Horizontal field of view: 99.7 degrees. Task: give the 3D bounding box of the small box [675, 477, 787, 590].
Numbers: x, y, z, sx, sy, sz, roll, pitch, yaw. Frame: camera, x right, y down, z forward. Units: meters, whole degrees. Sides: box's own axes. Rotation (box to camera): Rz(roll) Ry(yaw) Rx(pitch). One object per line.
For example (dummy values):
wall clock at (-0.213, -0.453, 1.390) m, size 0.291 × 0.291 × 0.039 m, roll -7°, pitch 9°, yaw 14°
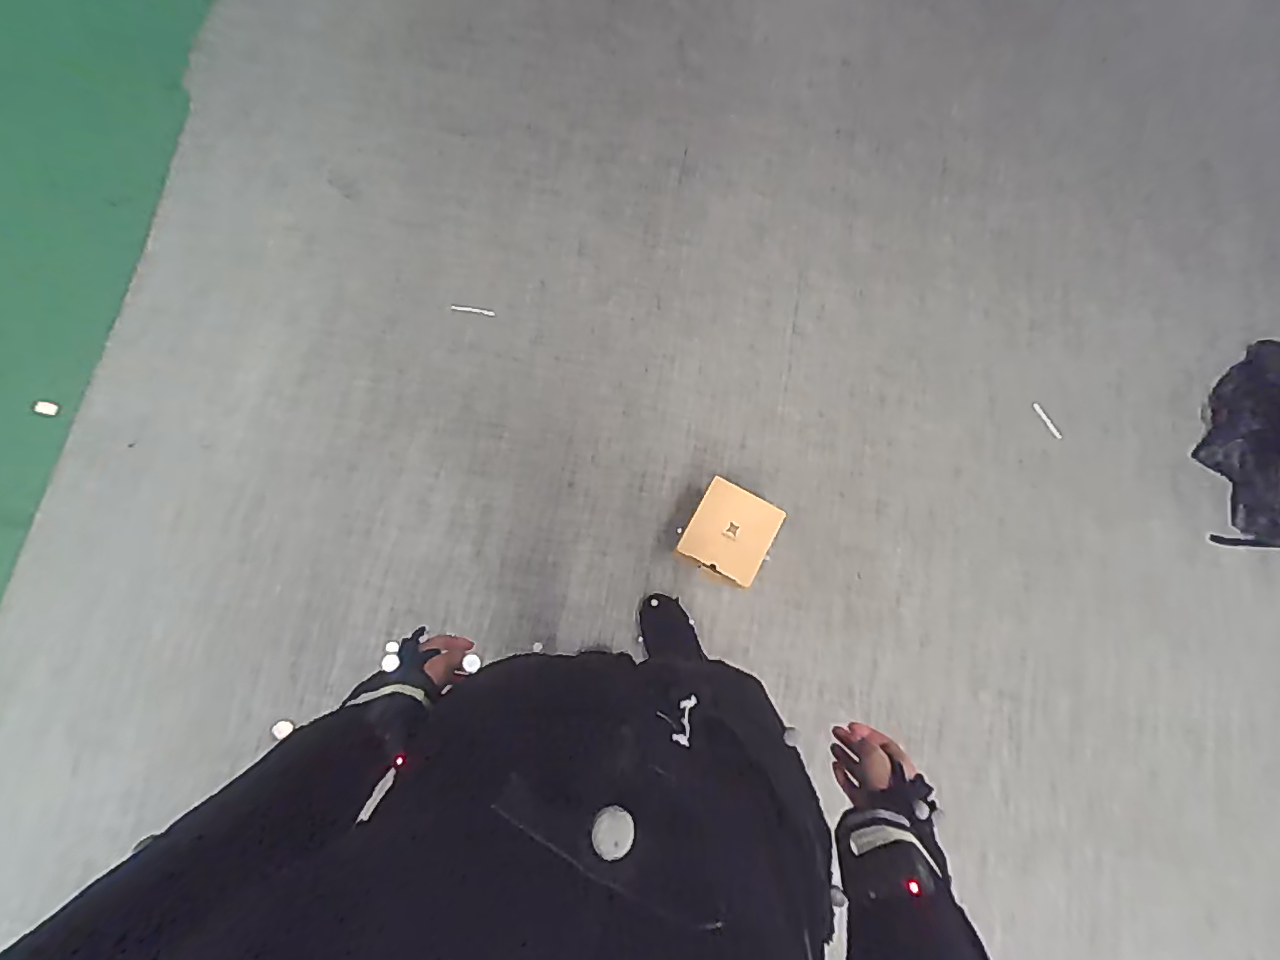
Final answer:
small box at (0.184, 0.118, 1.160) m, size 0.168 × 0.176 × 0.179 m, roll 28°, pitch 81°, yaw 5°
